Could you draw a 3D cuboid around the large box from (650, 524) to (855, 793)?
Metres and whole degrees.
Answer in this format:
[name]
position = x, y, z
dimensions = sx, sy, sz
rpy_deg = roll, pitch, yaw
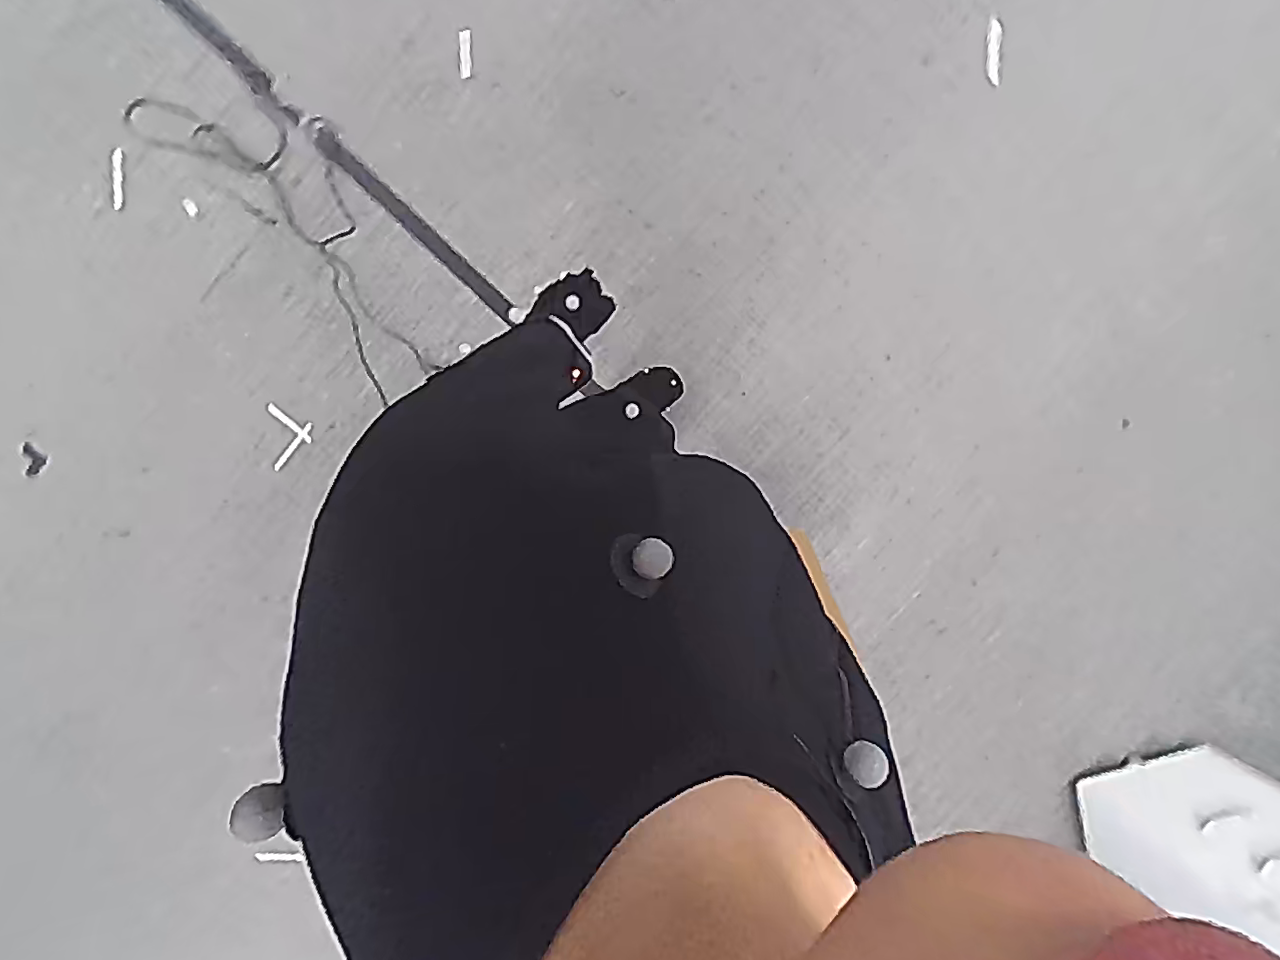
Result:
[large box]
position = 0.182, 0.323, 1.052
dimensions = 0.320, 0.408, 0.320
rpy_deg = -1, 116, 2
